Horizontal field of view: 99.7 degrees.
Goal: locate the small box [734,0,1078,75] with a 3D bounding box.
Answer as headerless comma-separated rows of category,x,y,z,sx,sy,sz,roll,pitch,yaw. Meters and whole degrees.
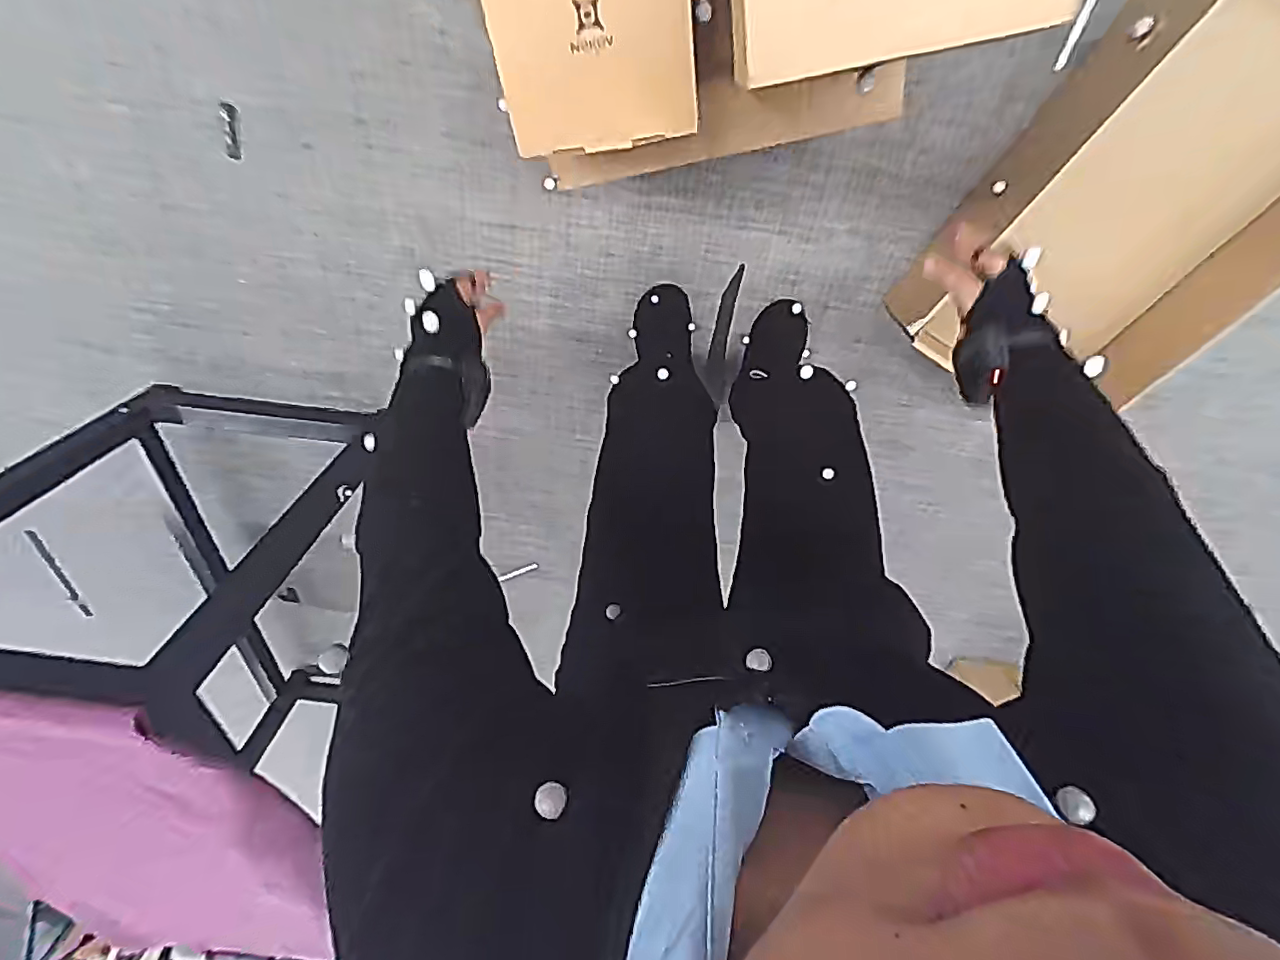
small box,0.143,-0.355,0.320,0.179,0.176,0.168,-5,126,10
